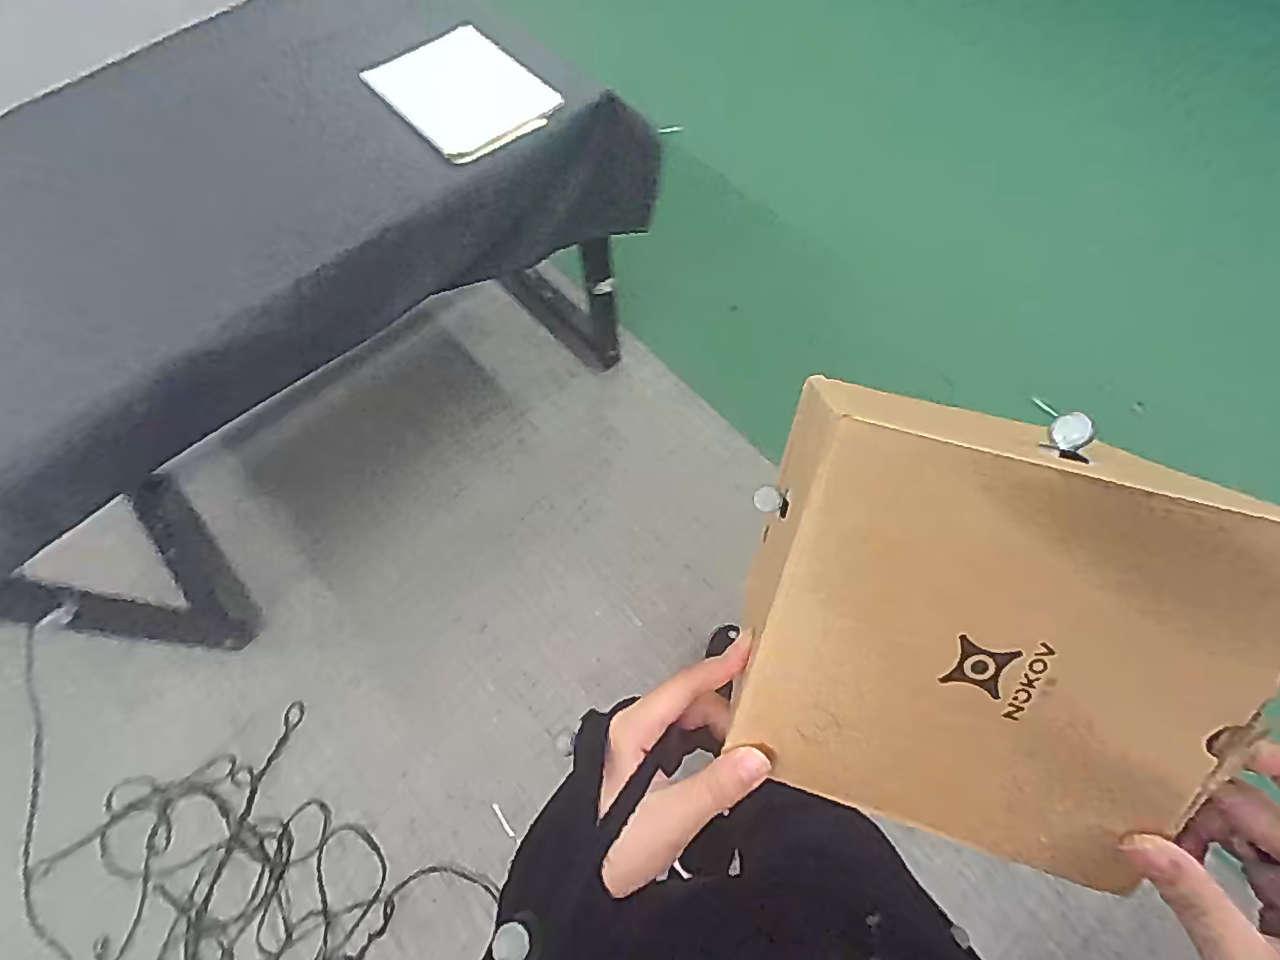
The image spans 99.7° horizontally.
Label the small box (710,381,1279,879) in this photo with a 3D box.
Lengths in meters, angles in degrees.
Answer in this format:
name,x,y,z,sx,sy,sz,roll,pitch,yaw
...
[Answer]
name,x,y,z,sx,sy,sz,roll,pitch,yaw
small box,0.147,0.047,0.287,0.179,0.176,0.168,15,107,8
